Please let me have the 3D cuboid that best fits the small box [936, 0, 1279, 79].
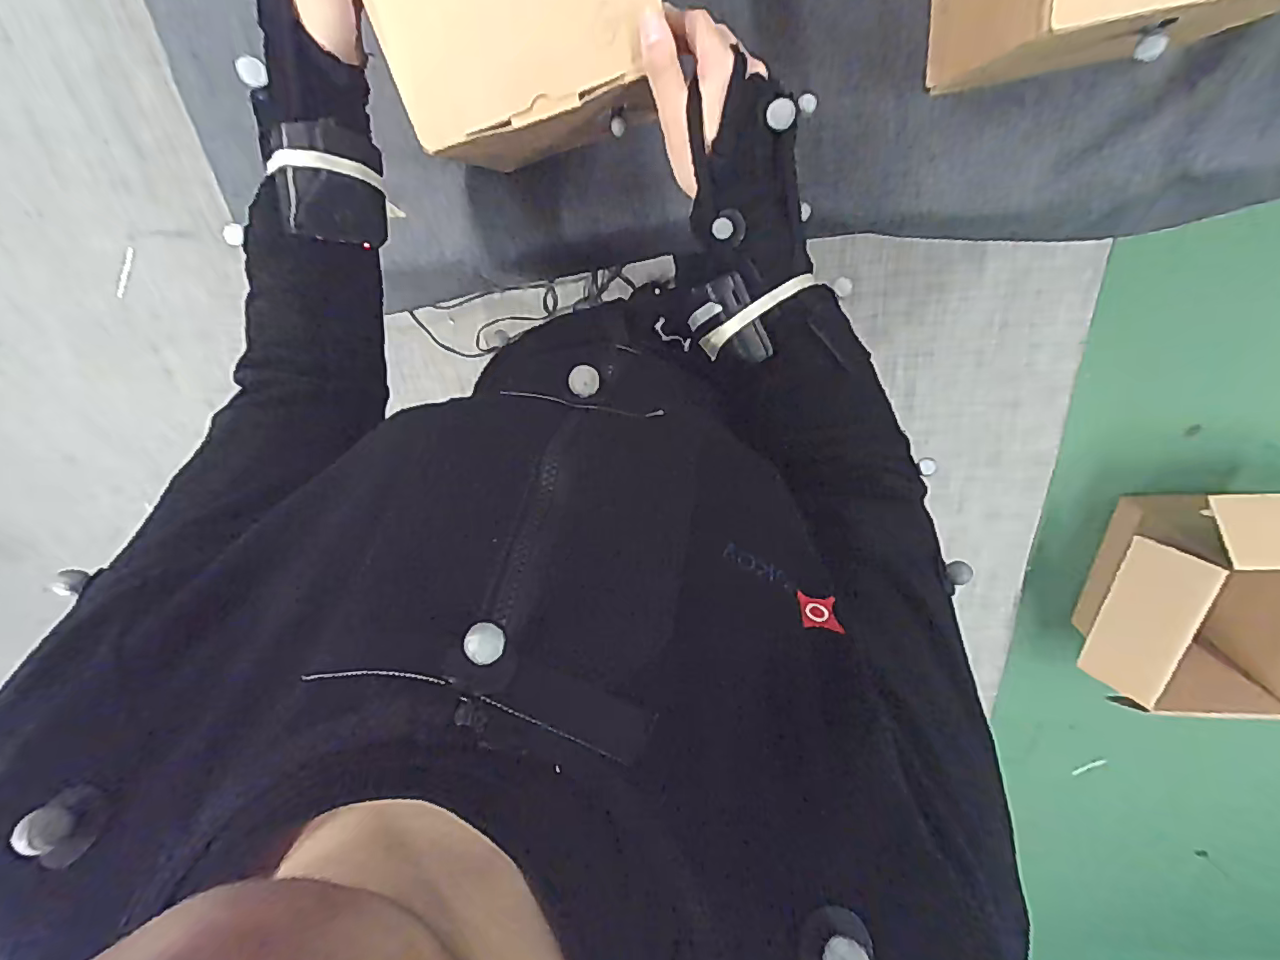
[{"bbox_3d":[0.300,-0.357,0.309,0.179,0.176,0.168,-5,116,9],"label":"small box"}]
